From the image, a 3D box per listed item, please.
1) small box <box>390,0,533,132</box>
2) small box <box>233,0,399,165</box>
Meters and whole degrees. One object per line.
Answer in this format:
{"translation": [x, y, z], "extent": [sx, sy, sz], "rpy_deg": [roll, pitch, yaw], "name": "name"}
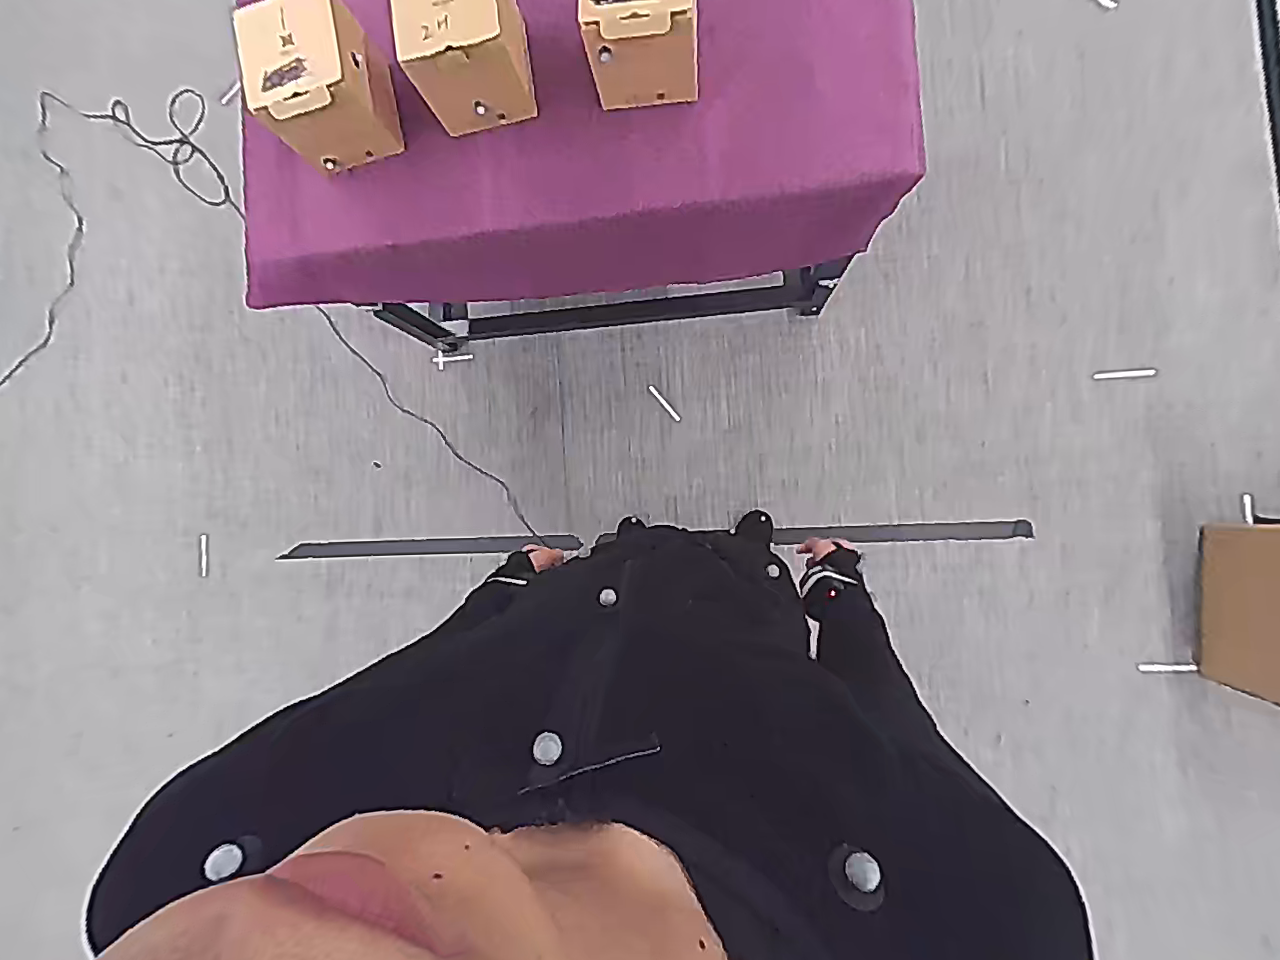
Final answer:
{"translation": [-0.286, -0.720, 0.886], "extent": [0.168, 0.176, 0.179], "rpy_deg": [-8, 87, 7], "name": "small box"}
{"translation": [-0.536, -0.670, 0.916], "extent": [0.168, 0.176, 0.179], "rpy_deg": [-12, 86, 6], "name": "small box"}
